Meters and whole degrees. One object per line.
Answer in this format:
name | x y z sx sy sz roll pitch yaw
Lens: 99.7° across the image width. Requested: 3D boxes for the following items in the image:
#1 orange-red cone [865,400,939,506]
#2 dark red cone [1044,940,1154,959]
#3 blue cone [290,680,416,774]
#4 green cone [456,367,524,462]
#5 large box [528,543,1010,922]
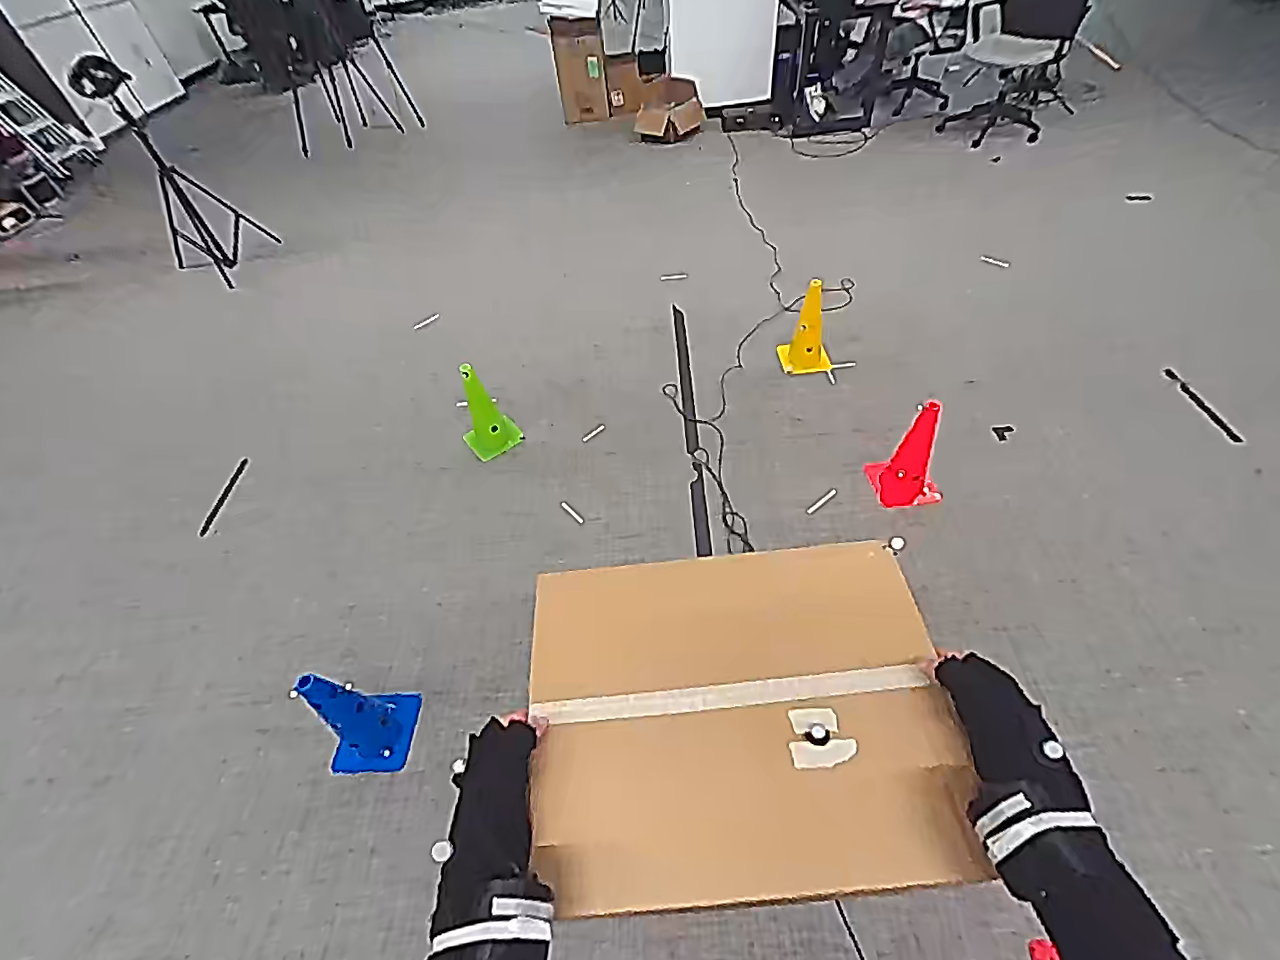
orange-red cone | 0.875 -0.108 1.719 0.198 0.360 0.199 -6 47 1
dark red cone | 0.839 0.855 0.845 0.201 0.394 0.202 -1 49 8
blue cone | -0.732 0.584 1.344 0.192 0.380 0.193 -3 48 6
green cone | -0.613 -0.280 2.065 0.202 0.368 0.200 -35 53 -20
large box | 0.102 0.306 0.644 0.408 0.320 0.320 -6 51 1
